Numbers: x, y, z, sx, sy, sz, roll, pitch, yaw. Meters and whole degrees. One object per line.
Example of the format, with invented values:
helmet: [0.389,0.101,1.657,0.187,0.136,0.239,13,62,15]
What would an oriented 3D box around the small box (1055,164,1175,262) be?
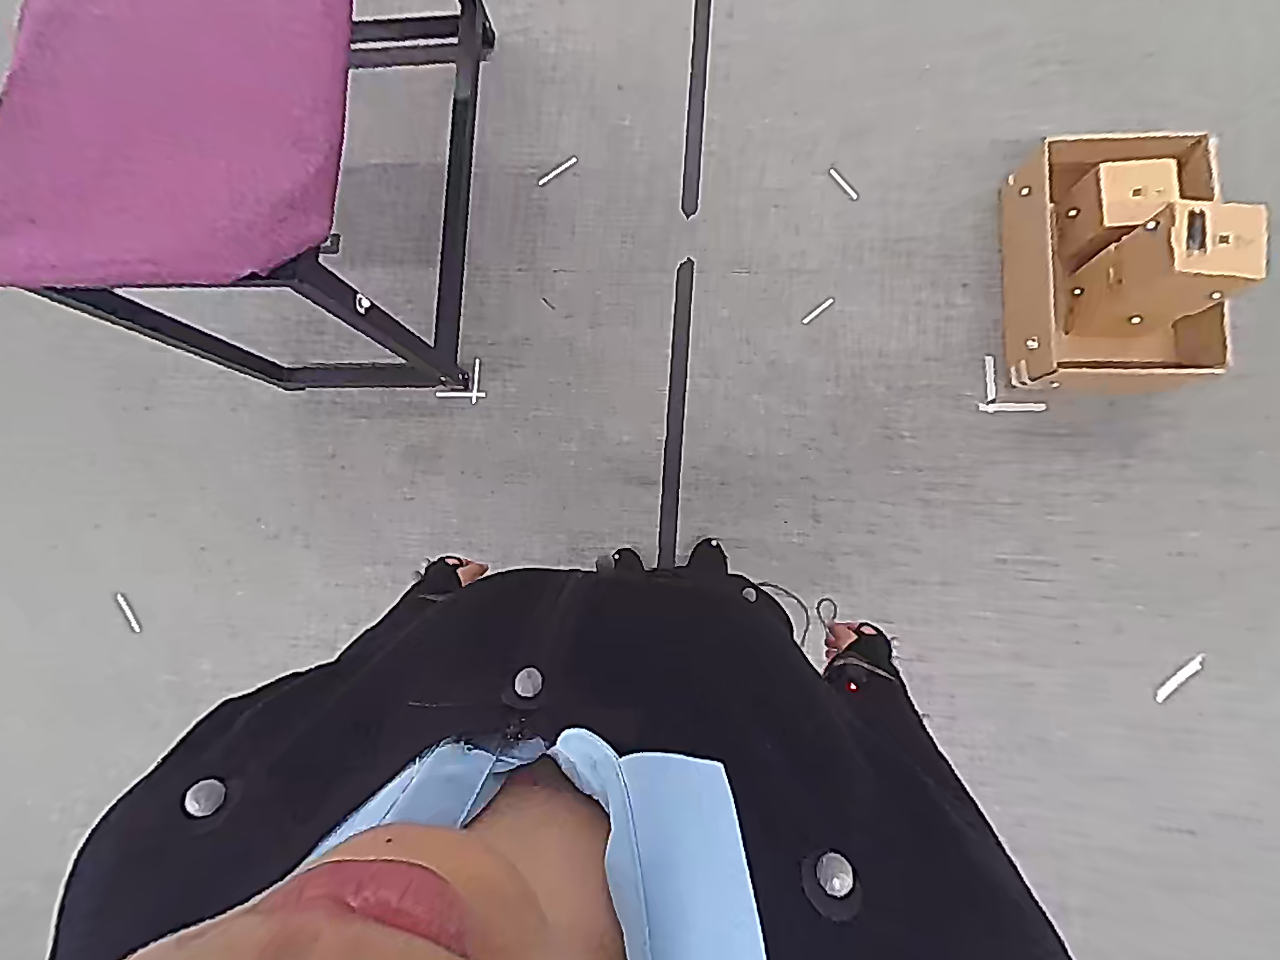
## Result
small box: [1.206,-0.679,1.391,0.179,0.176,0.168,0,85,5]

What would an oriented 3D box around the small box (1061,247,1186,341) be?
small box: [1.218,-0.463,1.370,0.179,0.176,0.168,6,82,6]
